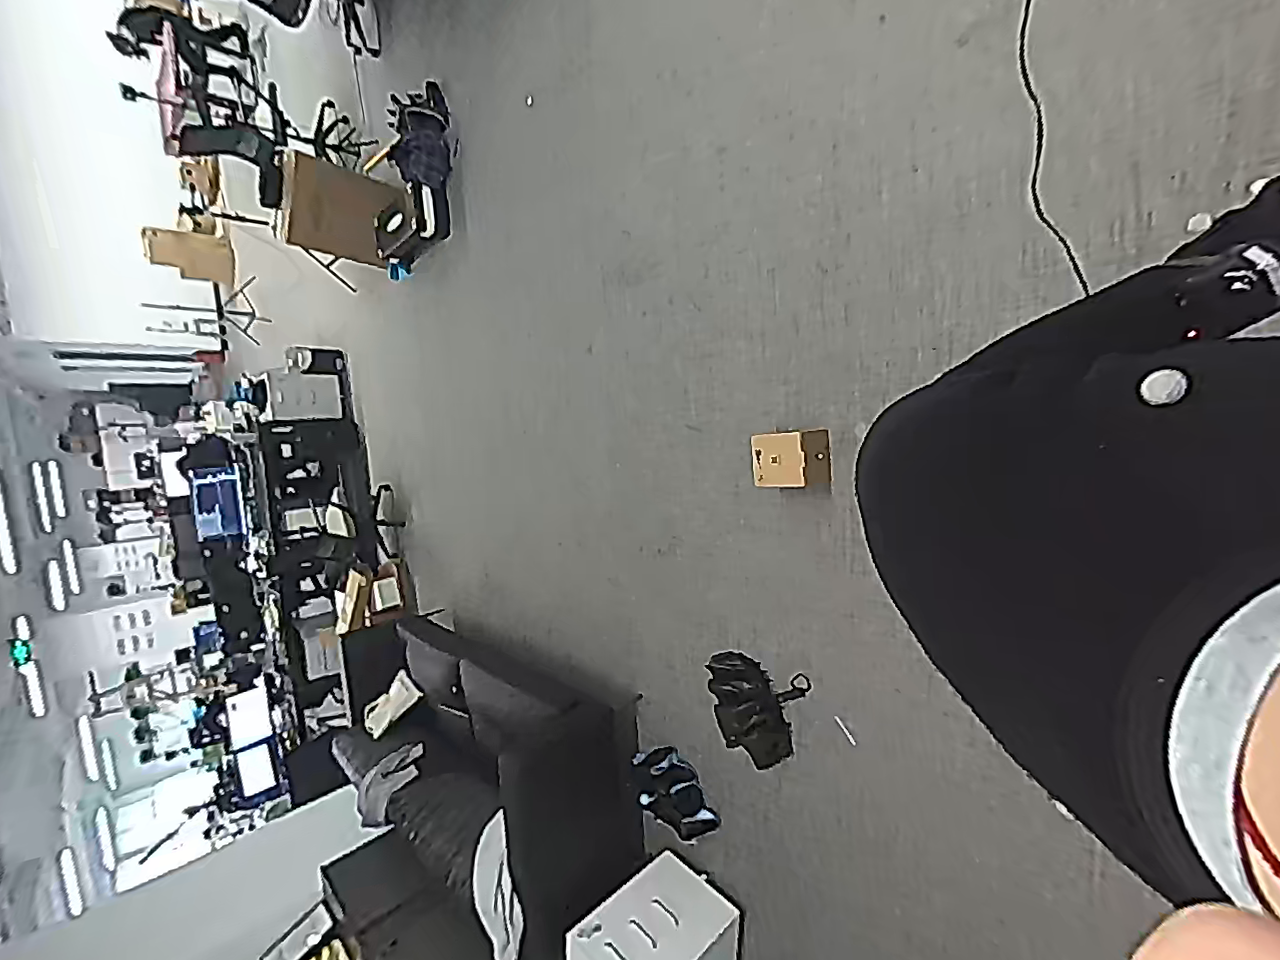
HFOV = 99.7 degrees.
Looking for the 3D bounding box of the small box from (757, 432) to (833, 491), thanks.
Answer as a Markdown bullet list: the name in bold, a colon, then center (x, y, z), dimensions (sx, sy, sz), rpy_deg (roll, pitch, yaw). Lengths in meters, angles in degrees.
- **small box**: center (0.493, -0.059, 1.704), dimensions (0.179, 0.176, 0.168), rpy_deg (-1, 98, 46)
